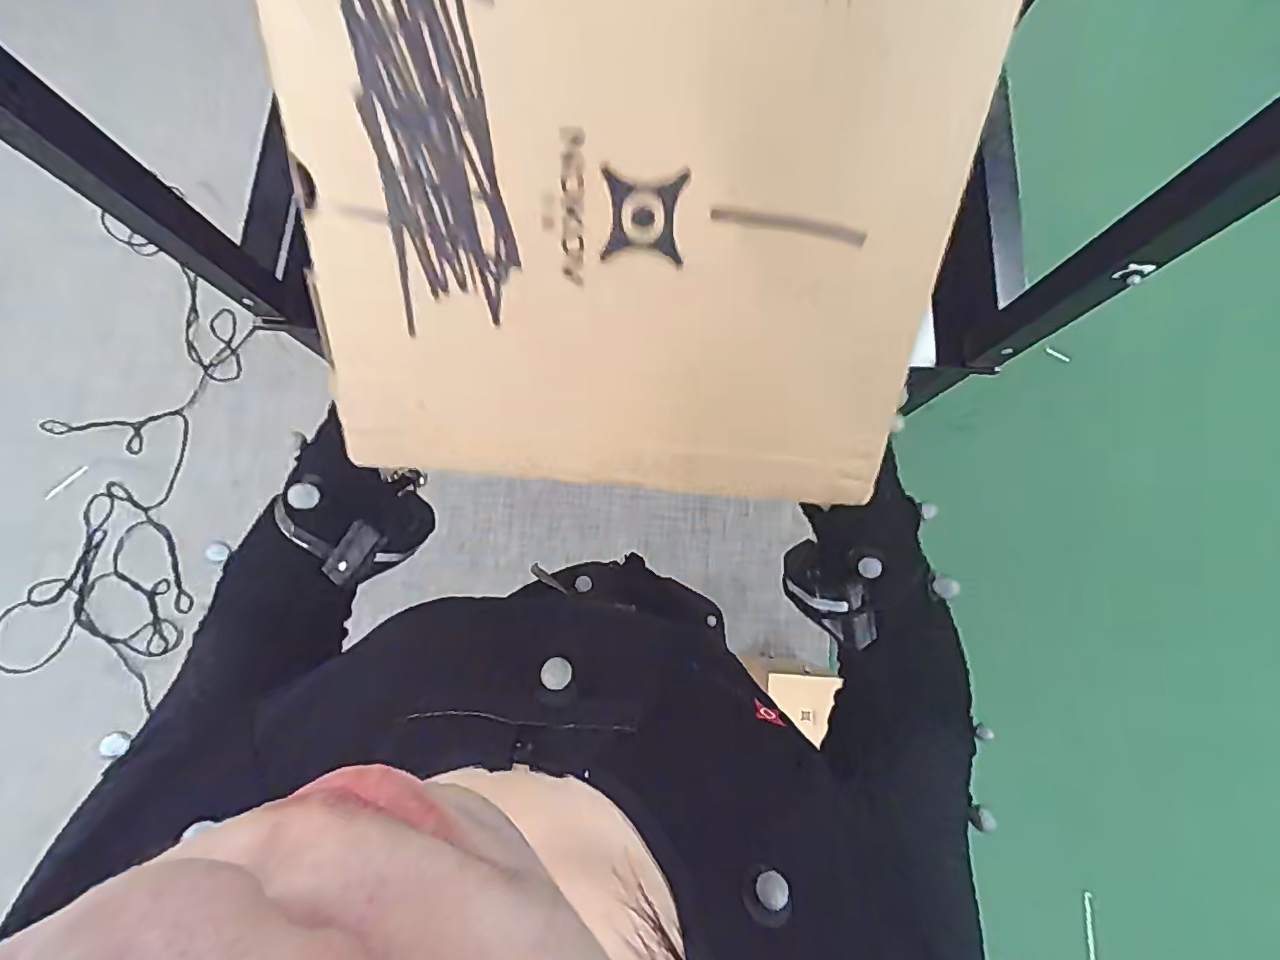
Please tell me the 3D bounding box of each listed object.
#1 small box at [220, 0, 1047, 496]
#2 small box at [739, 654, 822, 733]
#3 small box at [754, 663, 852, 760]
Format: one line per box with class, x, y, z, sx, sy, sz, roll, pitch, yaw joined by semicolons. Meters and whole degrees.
small box;0.000;-0.113;0.196;0.179;0.176;0.168;5;119;3
small box;0.350;0.539;1.370;0.179;0.176;0.168;3;79;1
small box;0.357;0.509;1.210;0.179;0.176;0.168;4;79;0
